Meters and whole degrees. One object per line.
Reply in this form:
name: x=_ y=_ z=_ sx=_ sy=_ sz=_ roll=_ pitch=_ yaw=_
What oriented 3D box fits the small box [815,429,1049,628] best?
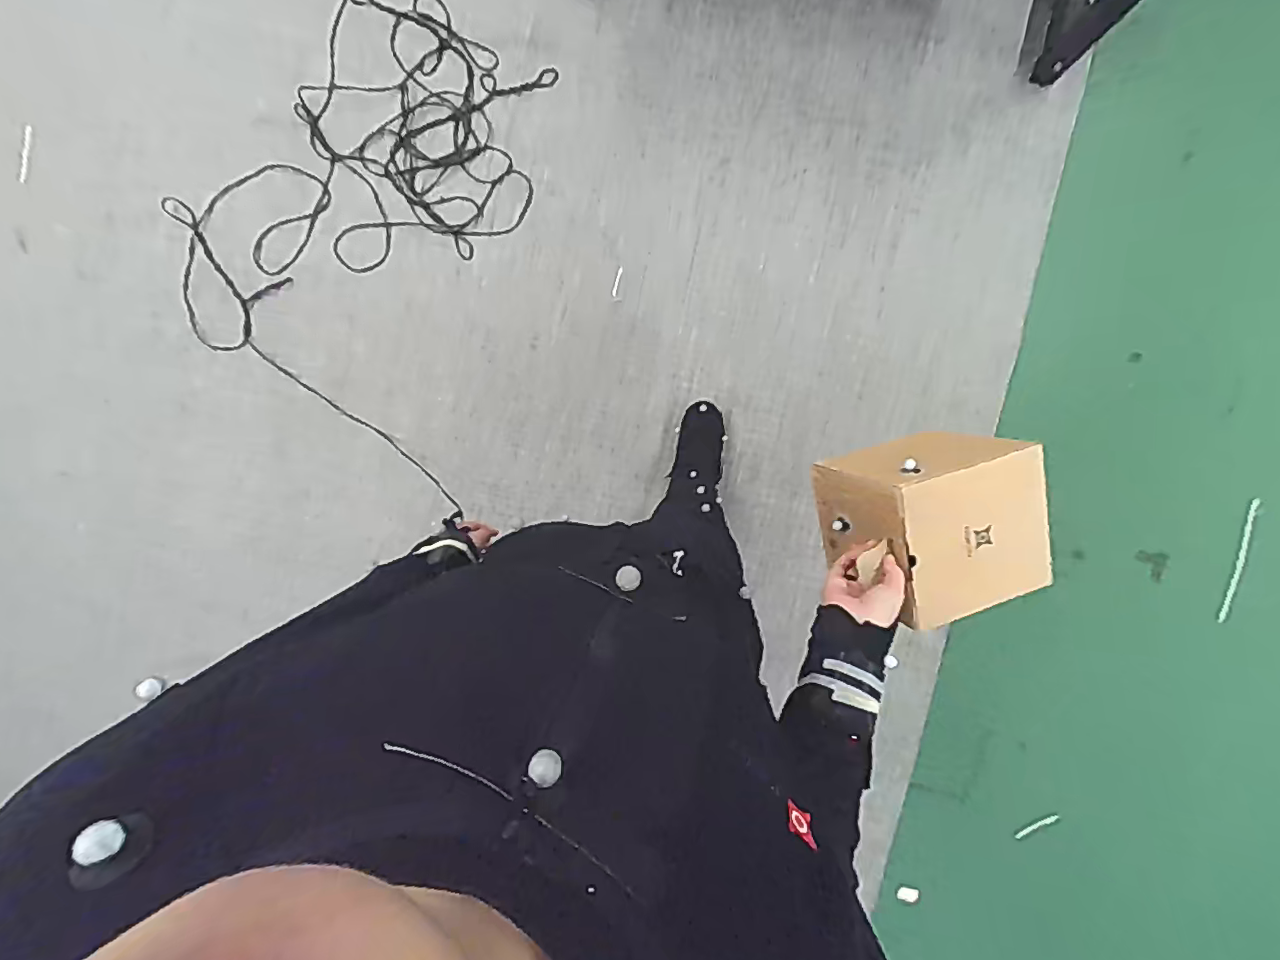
small box: x=0.338 y=0.043 z=0.645 sx=0.179 sy=0.176 sz=0.168 roll=-17 pitch=104 yaw=-10
